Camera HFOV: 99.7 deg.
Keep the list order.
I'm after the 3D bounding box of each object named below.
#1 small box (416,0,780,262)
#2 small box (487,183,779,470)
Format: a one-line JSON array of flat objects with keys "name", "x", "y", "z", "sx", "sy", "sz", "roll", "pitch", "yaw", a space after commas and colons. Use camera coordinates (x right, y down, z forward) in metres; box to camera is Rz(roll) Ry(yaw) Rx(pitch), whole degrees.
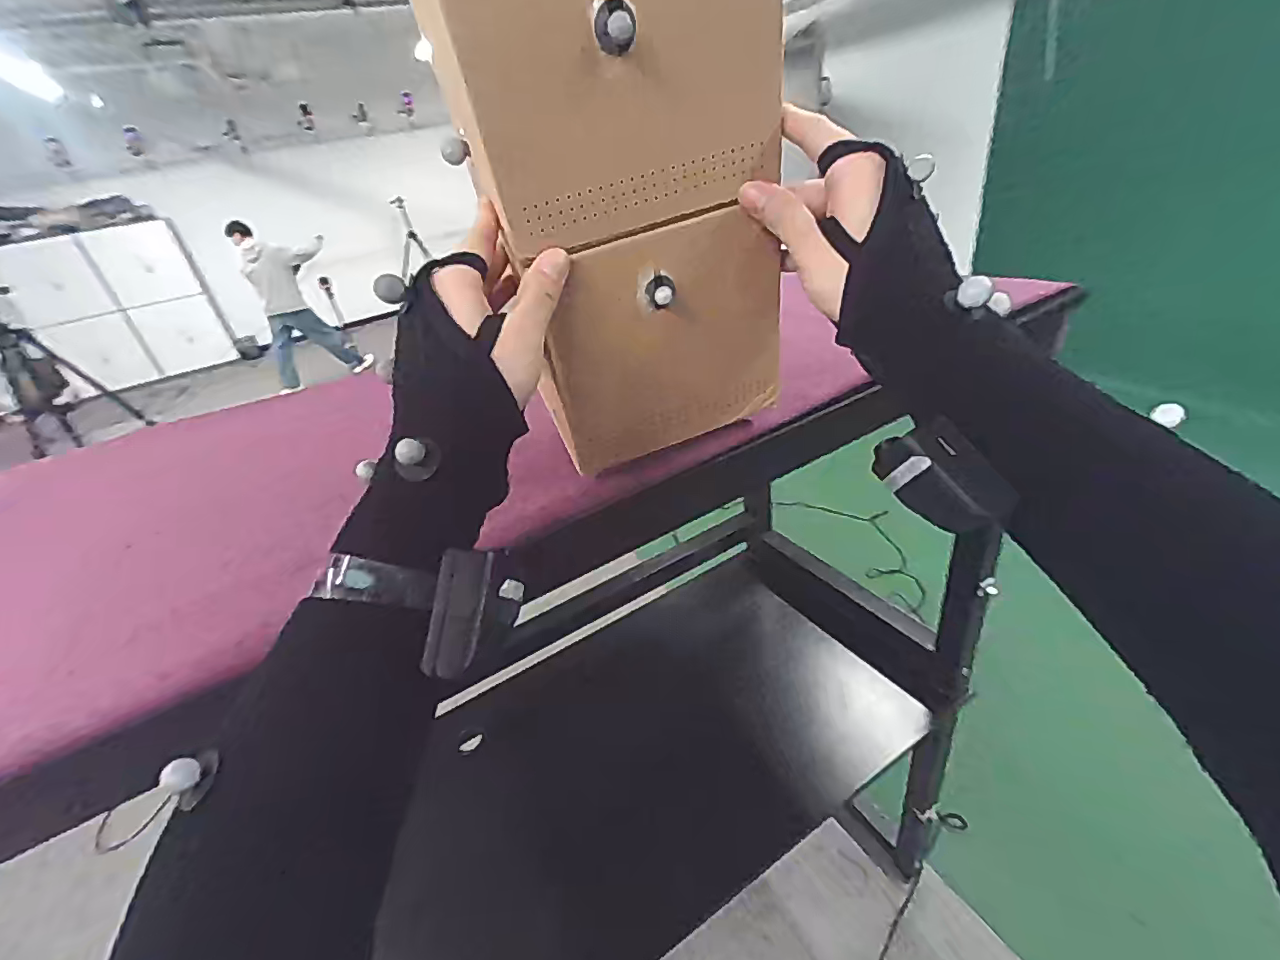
[{"name": "small box", "x": -0.029, "y": -0.255, "z": 0.328, "sx": 0.179, "sy": 0.176, "sz": 0.168, "roll": -21, "pitch": 42, "yaw": -8}, {"name": "small box", "x": -0.003, "y": -0.133, "z": 0.434, "sx": 0.179, "sy": 0.176, "sz": 0.168, "roll": -20, "pitch": 41, "yaw": -9}]
